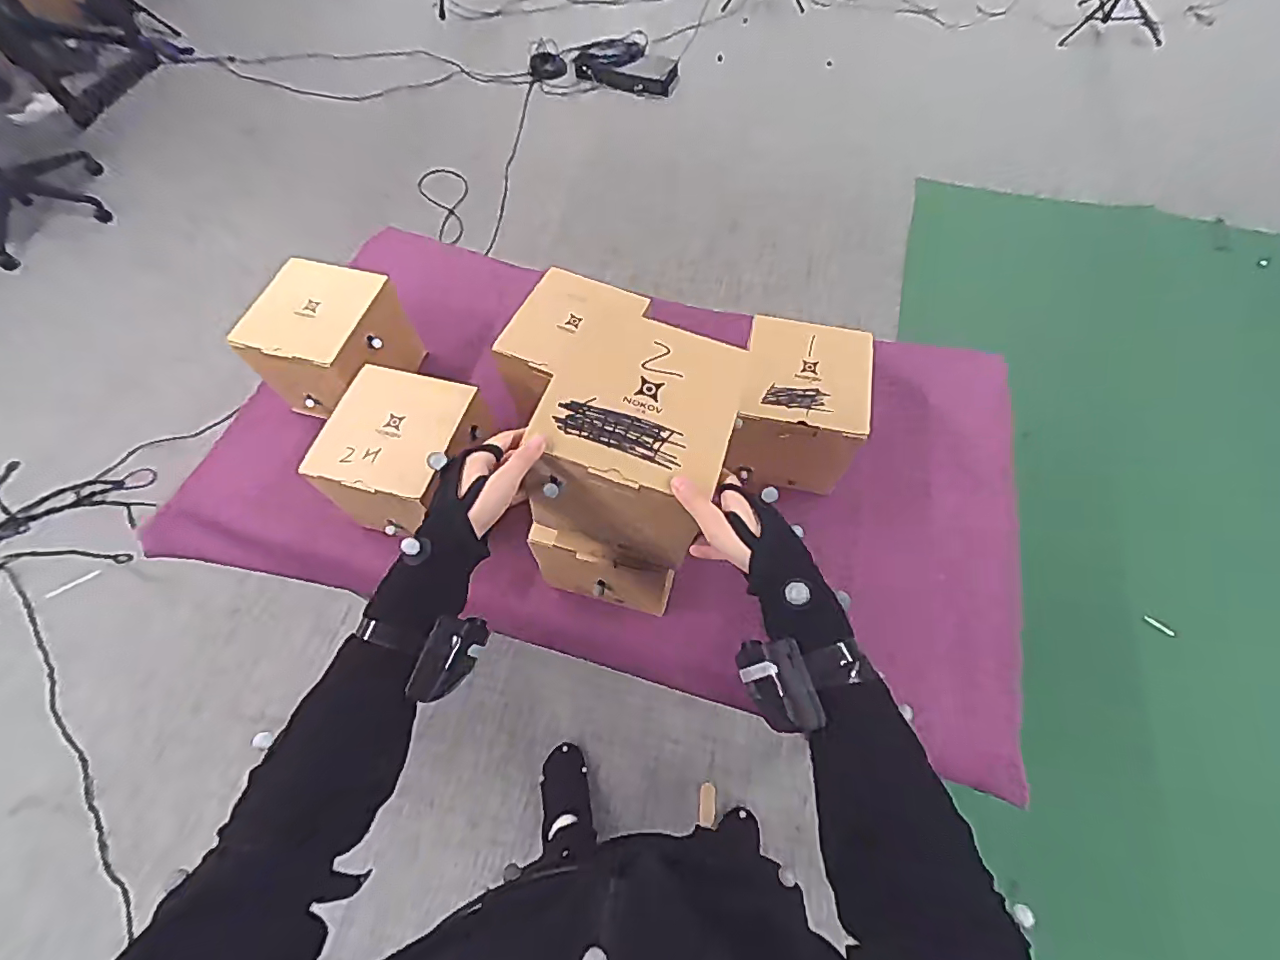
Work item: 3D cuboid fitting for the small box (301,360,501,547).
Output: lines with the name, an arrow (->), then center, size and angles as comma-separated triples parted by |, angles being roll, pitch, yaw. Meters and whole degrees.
small box -> -0.308, -0.032, 0.746 | 0.168, 0.176, 0.179 | 13, 63, 8

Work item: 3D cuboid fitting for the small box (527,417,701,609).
small box -> -0.025, 0.051, 0.700 | 0.168, 0.176, 0.179 | 14, 63, 8

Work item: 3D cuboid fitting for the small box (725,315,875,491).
small box -> 0.222, -0.104, 0.779 | 0.168, 0.176, 0.179 | 12, 62, 7

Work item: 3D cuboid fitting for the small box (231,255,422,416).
small box -> -0.468, -0.212, 0.846 | 0.168, 0.176, 0.179 | 13, 64, 7
